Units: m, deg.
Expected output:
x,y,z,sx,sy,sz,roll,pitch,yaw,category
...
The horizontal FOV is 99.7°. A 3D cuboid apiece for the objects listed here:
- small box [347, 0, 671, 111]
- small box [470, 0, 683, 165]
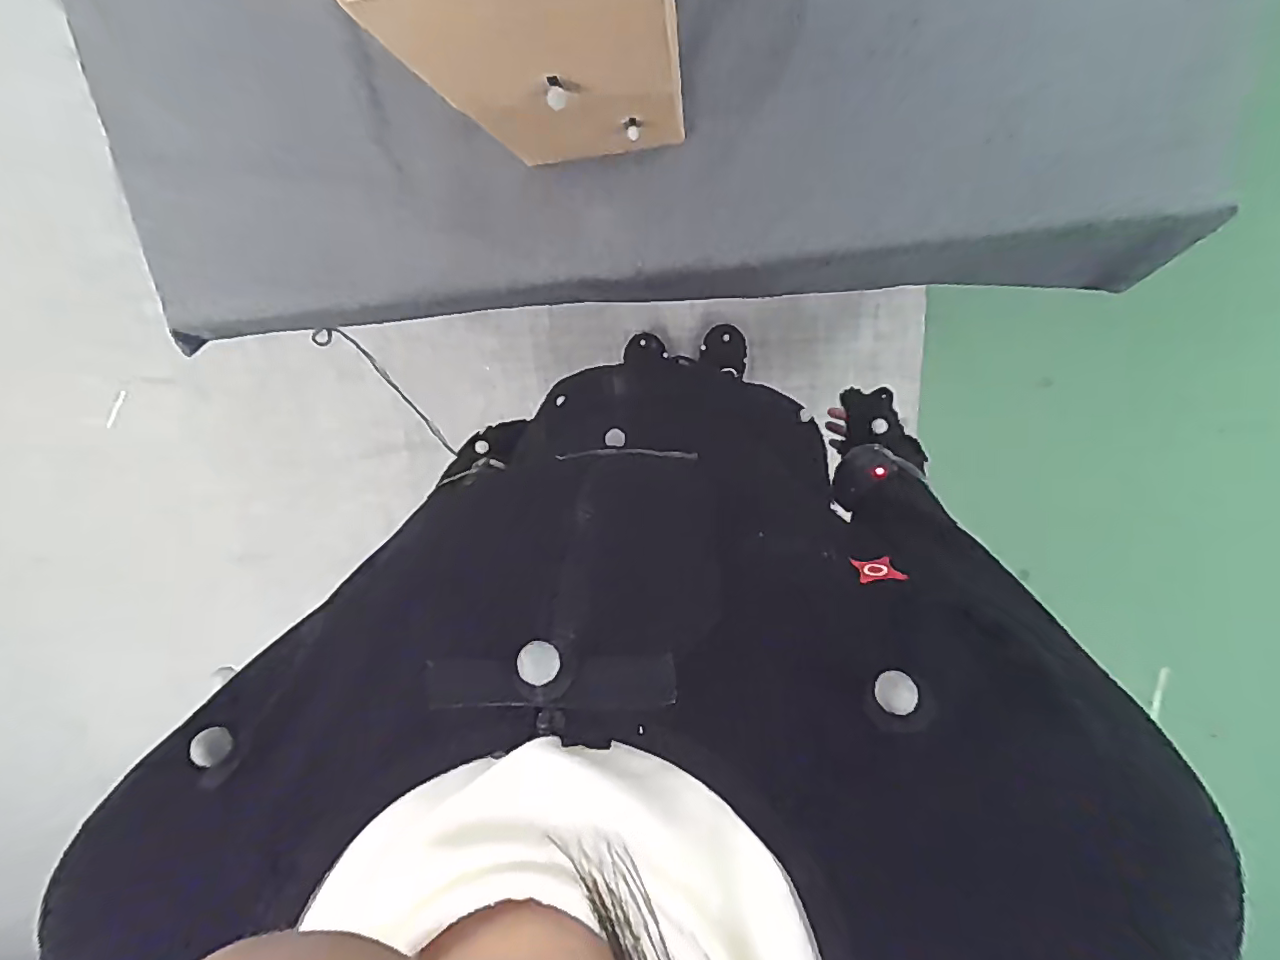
x,y,z,sx,sy,sz,roll,pitch,yaw,category
-0.071,-0.361,0.339,0.179,0.176,0.168,-3,105,7,small box
-0.054,-0.410,0.494,0.179,0.176,0.168,-4,105,10,small box
